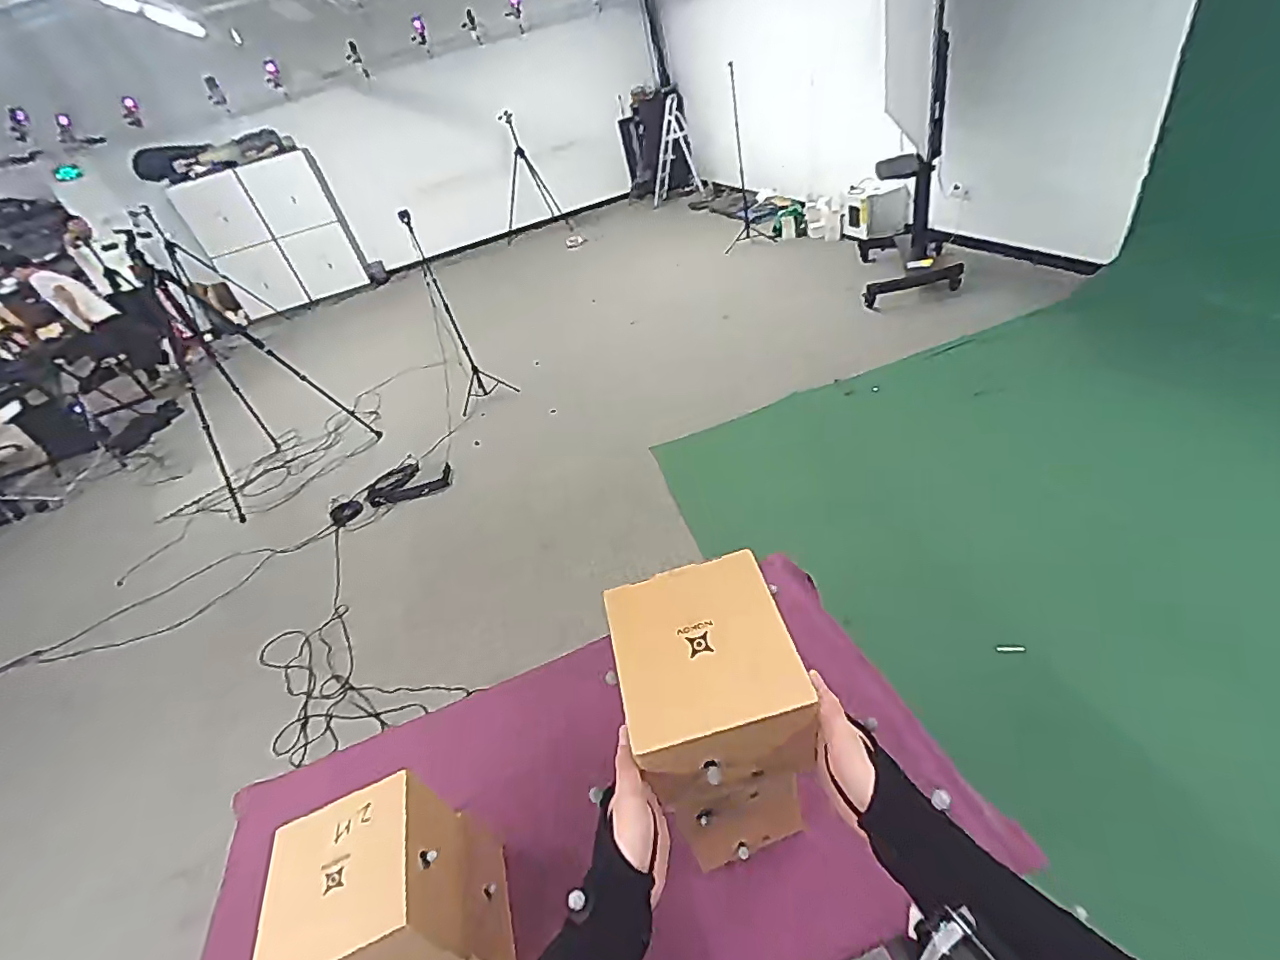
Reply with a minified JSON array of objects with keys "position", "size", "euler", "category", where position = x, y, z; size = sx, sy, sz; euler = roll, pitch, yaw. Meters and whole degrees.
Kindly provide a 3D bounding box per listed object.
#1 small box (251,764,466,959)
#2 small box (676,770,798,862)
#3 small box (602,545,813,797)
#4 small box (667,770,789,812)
[{"position":[-0.325,0.495,0.658],"size":[0.168,0.176,0.179],"euler":[-22,37,-8],"category":"small box"},{"position":[0.127,0.439,0.833],"size":[0.168,0.176,0.179],"euler":[-21,36,-4],"category":"small box"},{"position":[0.070,0.204,0.562],"size":[0.168,0.176,0.179],"euler":[-17,43,0],"category":"small box"},{"position":[0.087,0.315,0.734],"size":[0.168,0.176,0.179],"euler":[-22,35,-4],"category":"small box"}]
